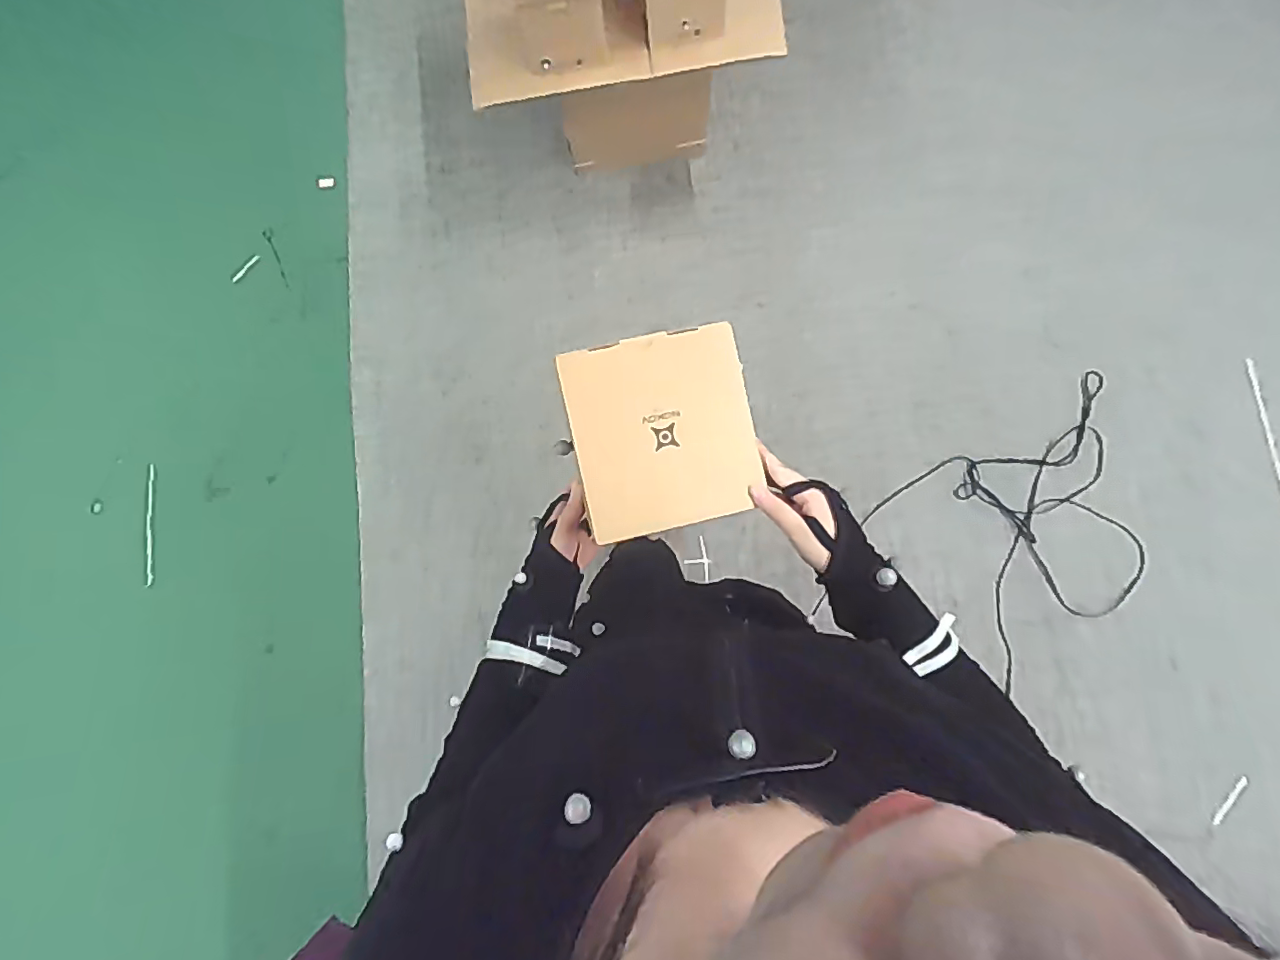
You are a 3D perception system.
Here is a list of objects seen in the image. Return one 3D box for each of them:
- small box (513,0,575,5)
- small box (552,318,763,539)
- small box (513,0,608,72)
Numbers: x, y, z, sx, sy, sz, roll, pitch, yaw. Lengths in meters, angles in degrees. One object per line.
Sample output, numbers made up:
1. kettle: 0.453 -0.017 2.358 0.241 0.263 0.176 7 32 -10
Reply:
1. small box: -0.170 -0.997 0.959 0.179 0.176 0.168 -5 84 4
2. small box: 0.011 -0.047 0.566 0.168 0.176 0.179 -13 90 -5
3. small box: -0.163 -0.991 1.123 0.168 0.176 0.179 -6 81 4
